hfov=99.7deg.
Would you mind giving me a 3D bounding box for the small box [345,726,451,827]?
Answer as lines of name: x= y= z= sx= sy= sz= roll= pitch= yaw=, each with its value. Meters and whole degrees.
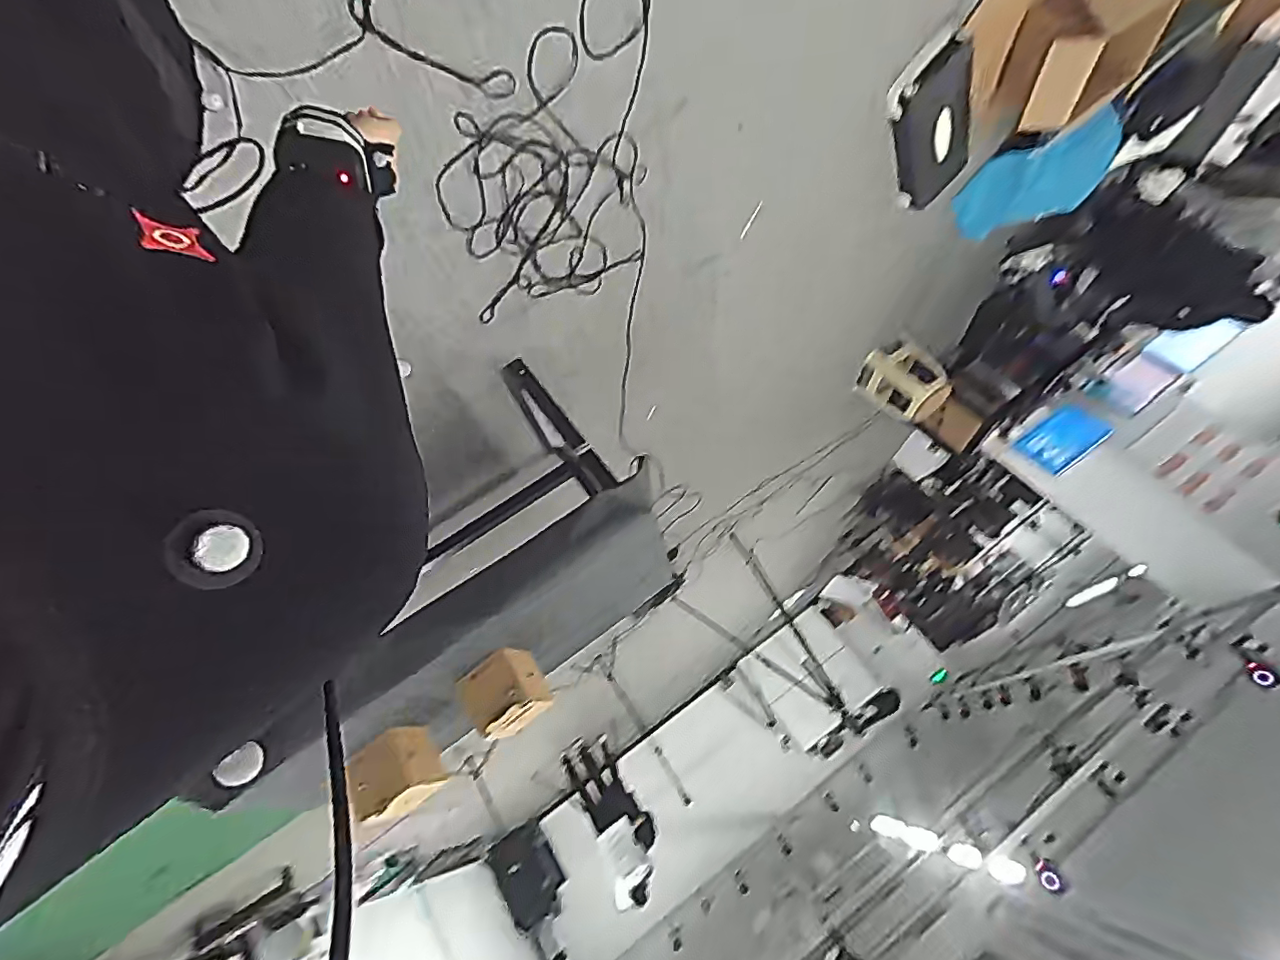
small box: x=-0.649 y=0.782 z=1.447 sx=0.168 sy=0.176 sz=0.179 roll=-37 pitch=154 yaw=-3
